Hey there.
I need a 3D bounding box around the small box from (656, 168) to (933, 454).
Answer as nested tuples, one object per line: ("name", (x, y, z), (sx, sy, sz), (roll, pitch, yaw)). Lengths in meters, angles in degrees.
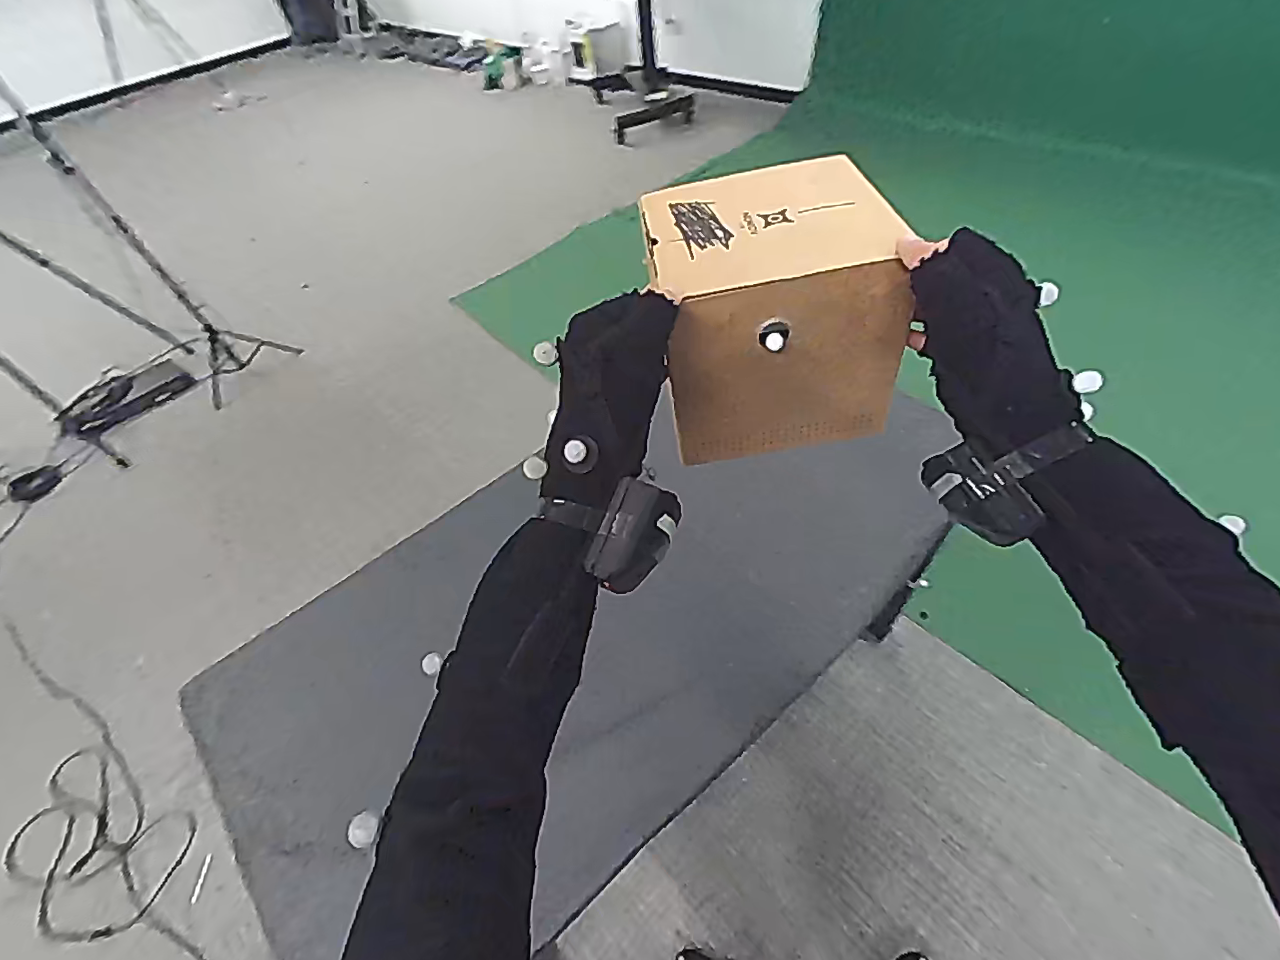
("small box", (0.116, -0.140, 0.472), (0.179, 0.176, 0.168), (-9, 49, 3))
